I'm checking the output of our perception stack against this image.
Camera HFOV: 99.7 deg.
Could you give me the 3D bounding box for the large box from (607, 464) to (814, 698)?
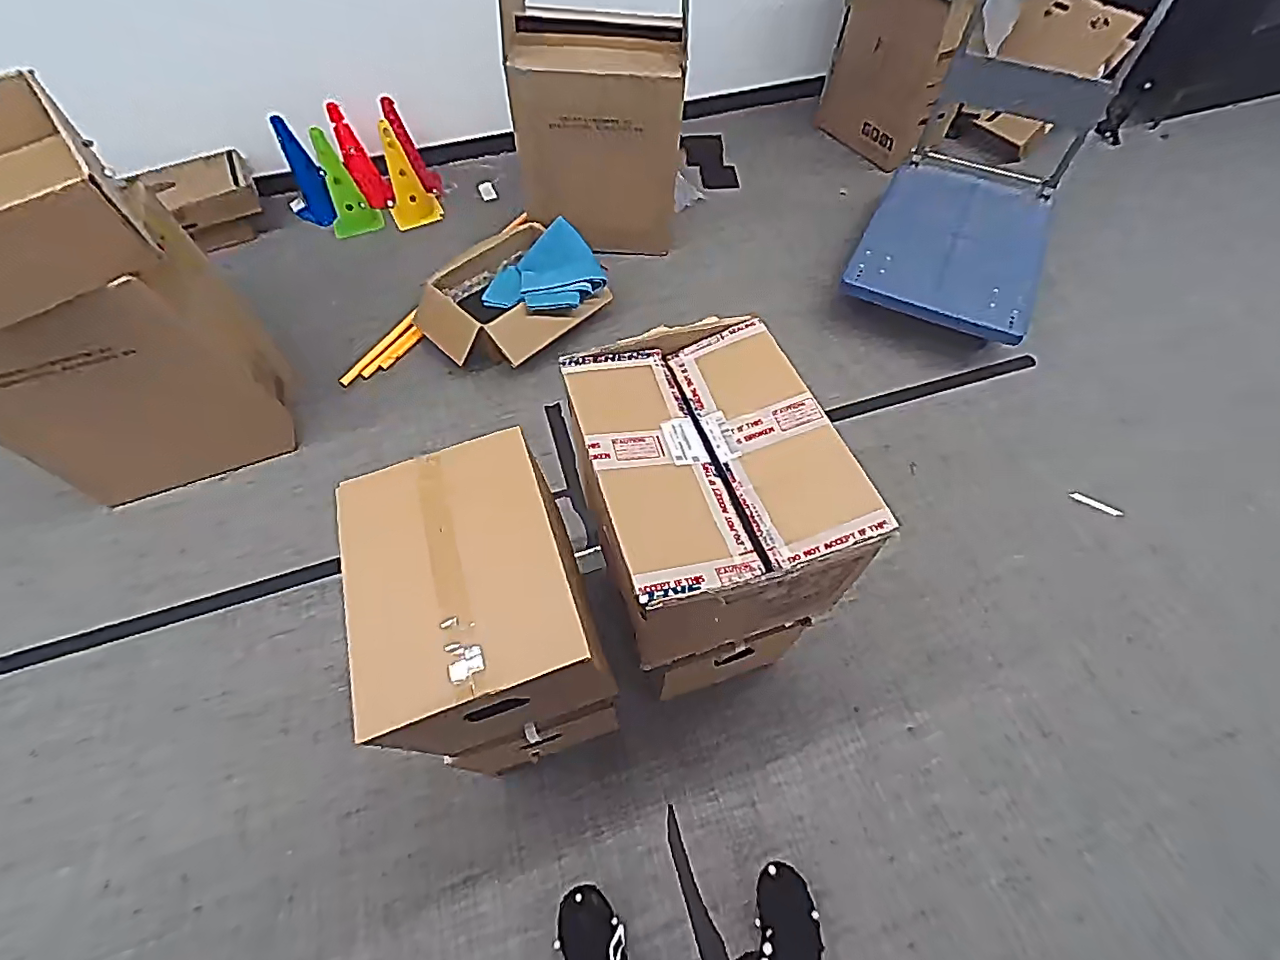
[{"bbox_3d":[0.133,0.237,1.266,0.320,0.320,0.408,-17,60,-10],"label":"large box"}]
